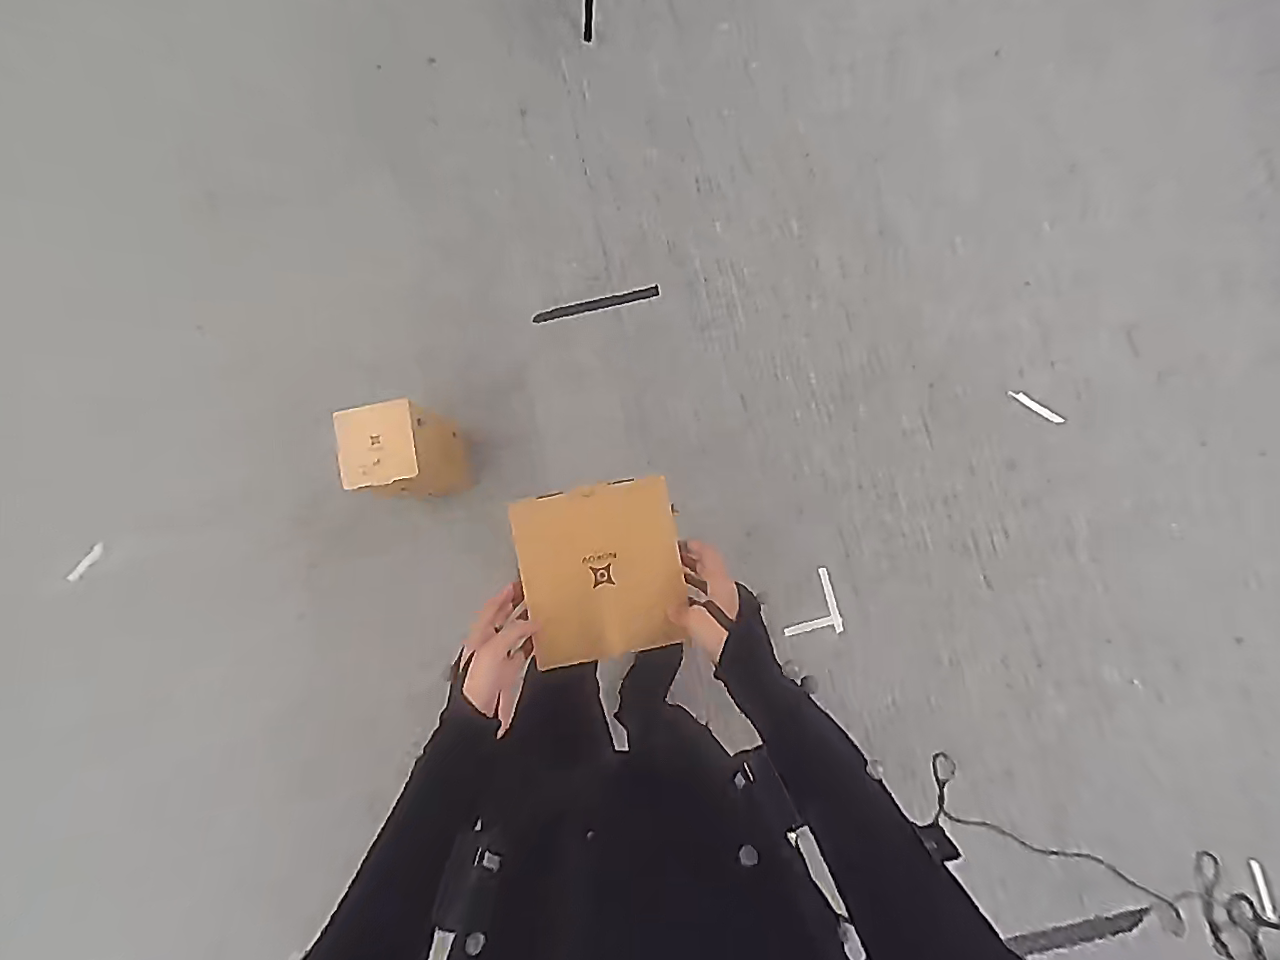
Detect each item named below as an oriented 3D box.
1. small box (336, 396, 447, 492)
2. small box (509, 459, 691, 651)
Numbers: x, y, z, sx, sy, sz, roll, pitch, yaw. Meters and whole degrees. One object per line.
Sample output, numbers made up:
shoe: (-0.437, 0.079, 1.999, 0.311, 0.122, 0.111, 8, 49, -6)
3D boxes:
small box: (-0.556, -0.076, 1.228, 0.168, 0.176, 0.179, -10, 84, 0)
small box: (-0.041, 0.079, 0.634, 0.168, 0.176, 0.179, -11, 87, -2)
